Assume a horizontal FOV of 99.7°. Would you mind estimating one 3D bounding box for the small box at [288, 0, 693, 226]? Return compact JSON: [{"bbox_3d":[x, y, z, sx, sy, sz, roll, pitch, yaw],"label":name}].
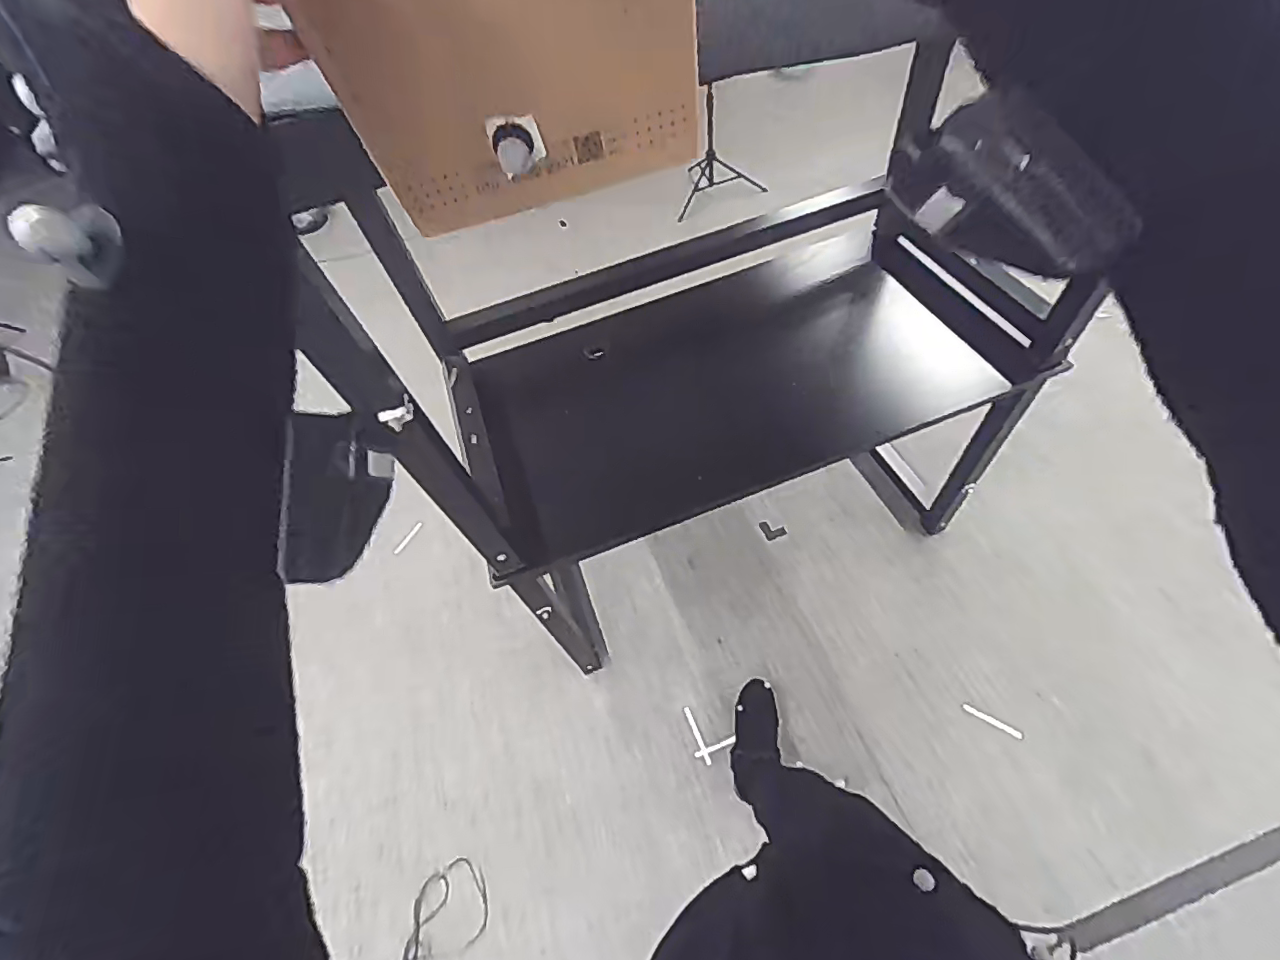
[{"bbox_3d":[-0.078,-0.263,0.260,0.168,0.176,0.179,-17,64,0],"label":"small box"}]
